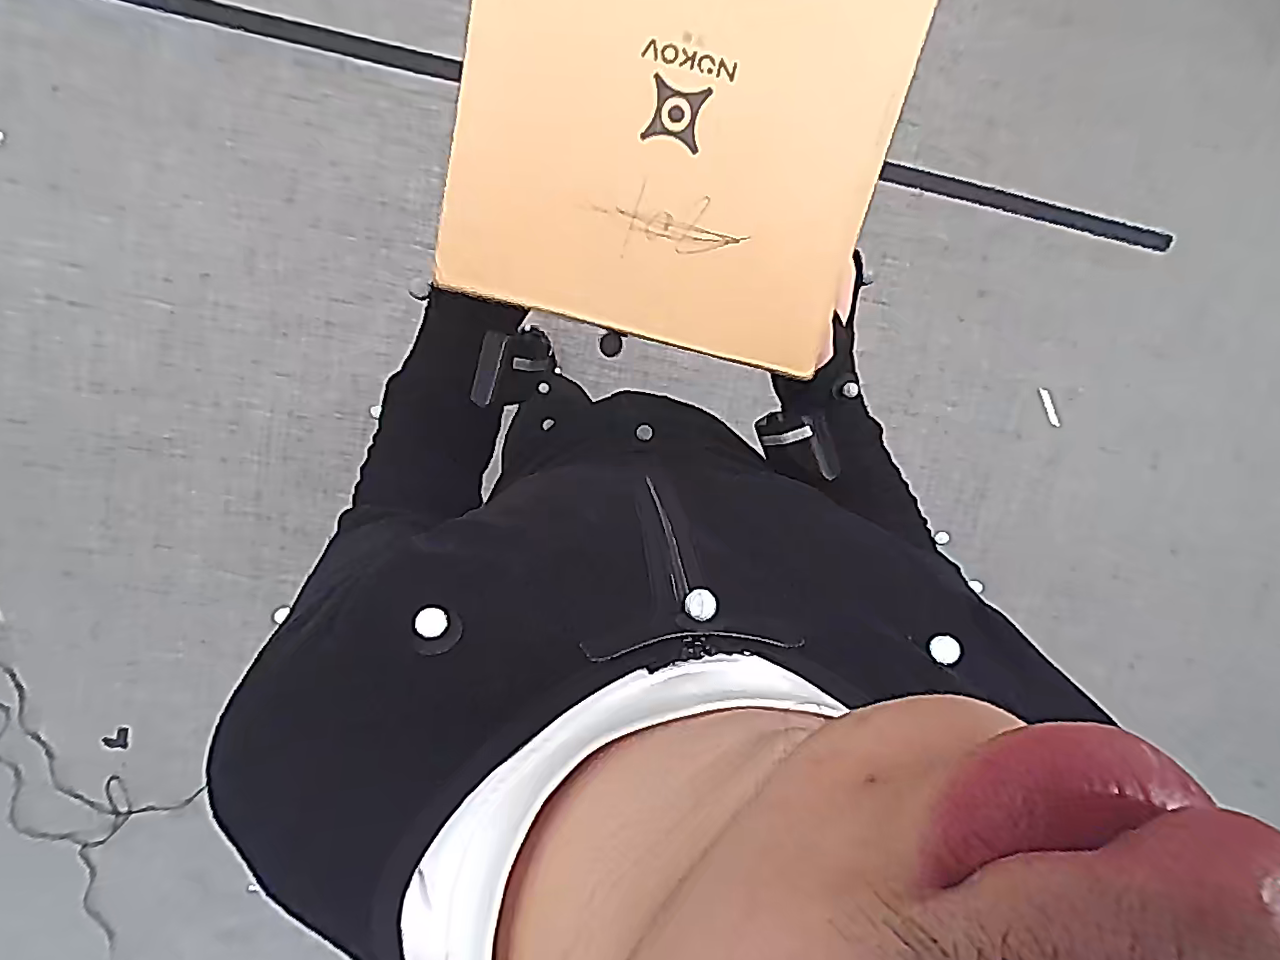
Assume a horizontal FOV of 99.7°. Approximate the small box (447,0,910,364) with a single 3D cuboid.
[{"bbox_3d":[0.014,-0.171,0.295,0.168,0.176,0.179,12,105,-2],"label":"small box"}]
